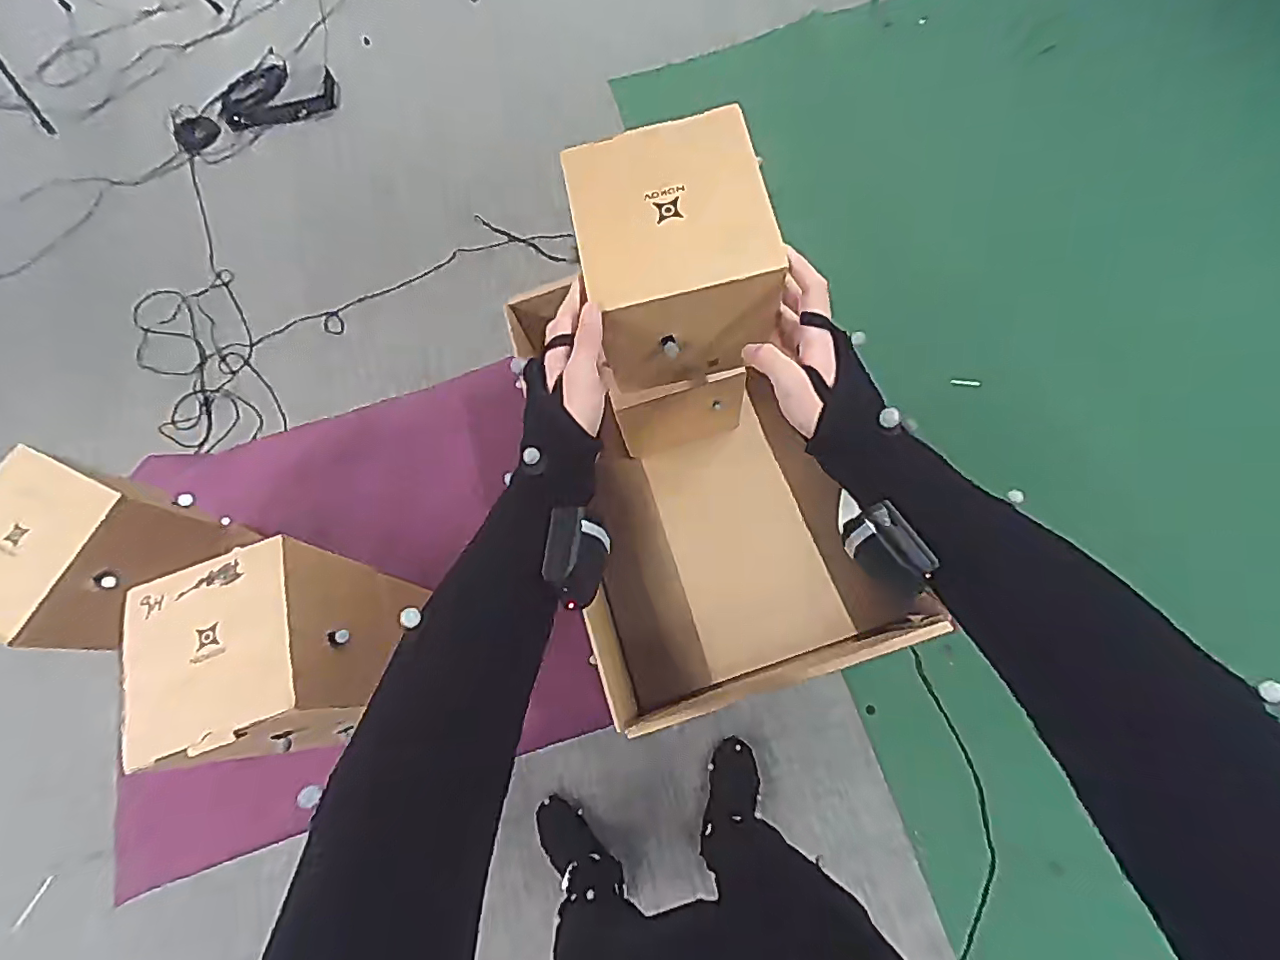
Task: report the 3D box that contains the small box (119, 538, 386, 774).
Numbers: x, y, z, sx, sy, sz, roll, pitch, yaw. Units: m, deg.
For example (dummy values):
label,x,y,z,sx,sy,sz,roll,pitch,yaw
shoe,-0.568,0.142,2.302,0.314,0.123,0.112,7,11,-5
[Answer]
label,x,y,z,sx,sy,sz,roll,pitch,yaw
small box,-0.398,0.185,0.581,0.168,0.176,0.179,-19,69,-1

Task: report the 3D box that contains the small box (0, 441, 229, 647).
label,x,y,z,sx,sy,sz,roll,pitch,yaw
small box,-0.654,0.086,0.645,0.168,0.176,0.179,22,74,12

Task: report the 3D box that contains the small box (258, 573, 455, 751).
label,x,y,z,sx,sy,sz,roll,pitch,yaw
small box,-0.379,0.246,0.731,0.179,0.176,0.168,-21,68,-2

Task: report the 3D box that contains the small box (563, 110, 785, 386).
label,x,y,z,sx,sy,sz,roll,pitch,yaw
small box,0.034,-0.209,0.537,0.168,0.176,0.179,-13,73,3
